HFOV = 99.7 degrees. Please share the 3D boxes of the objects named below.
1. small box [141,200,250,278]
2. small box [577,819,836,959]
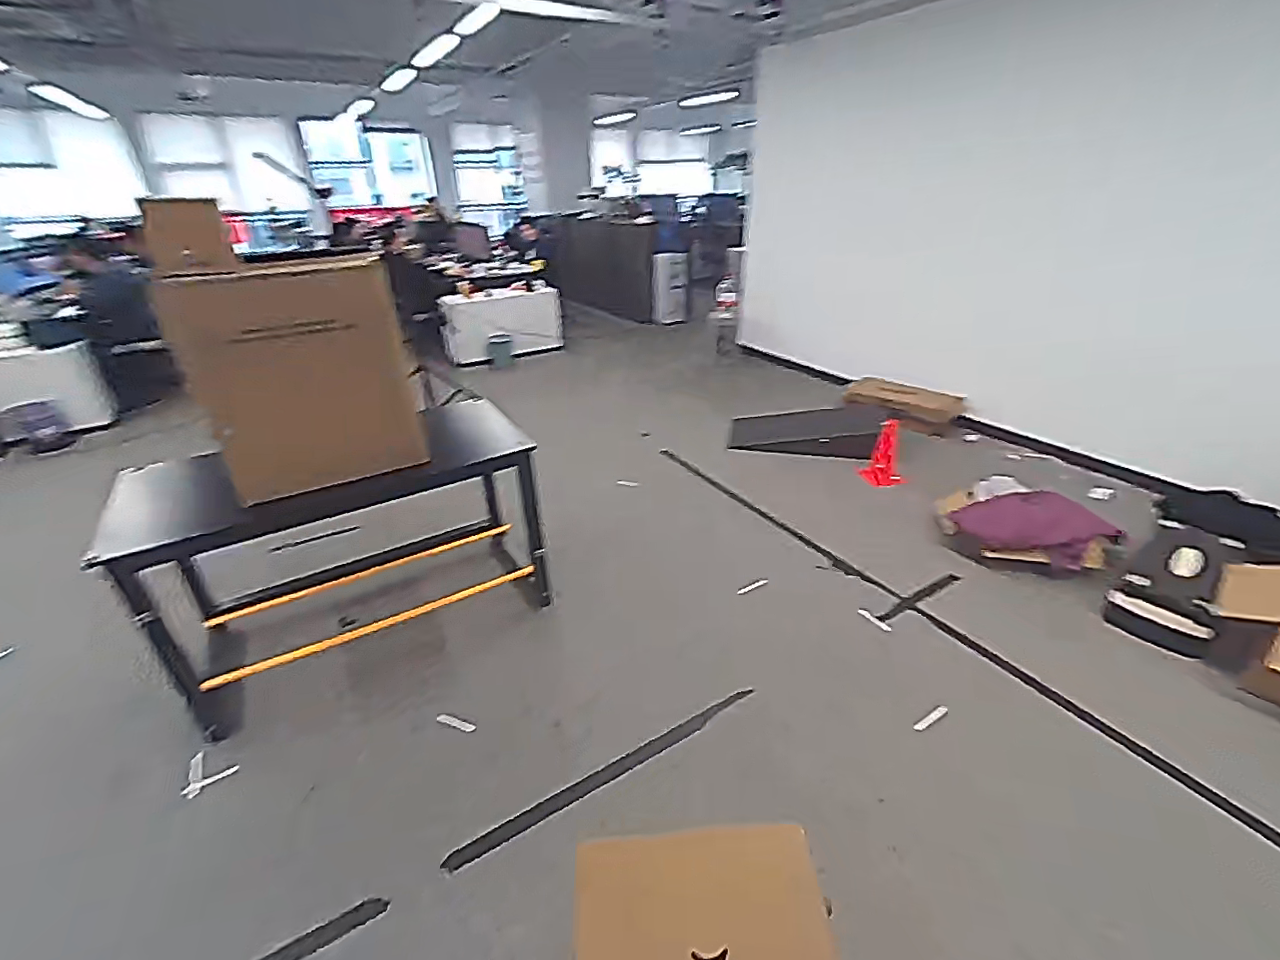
[{"bbox_3d":[-1.105,-0.607,1.358,0.168,0.176,0.179,-16,34,-28],"label":"small box"},{"bbox_3d":[0.040,0.369,0.379,0.168,0.176,0.179,-3,42,-5],"label":"small box"}]
